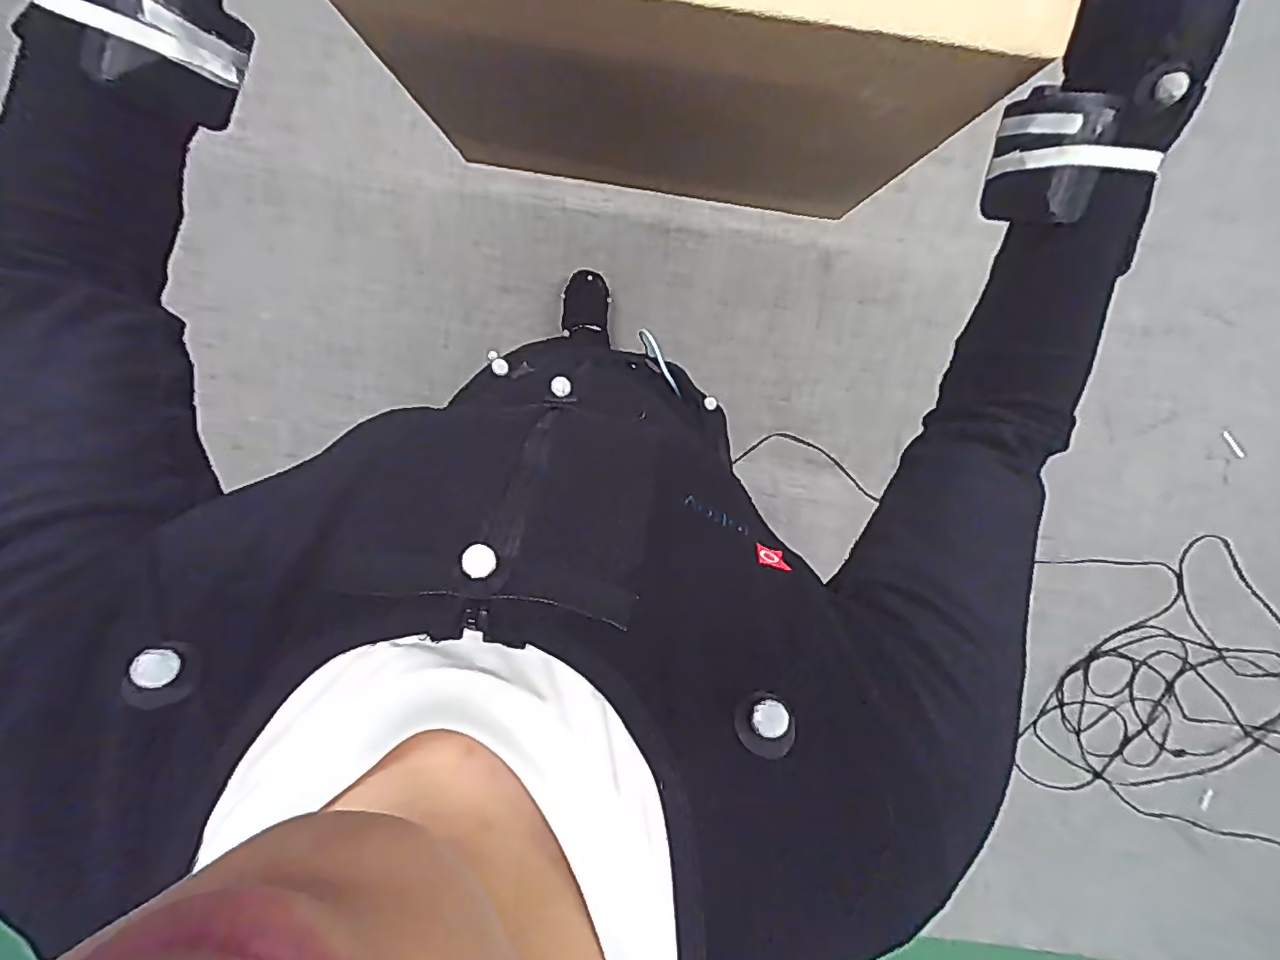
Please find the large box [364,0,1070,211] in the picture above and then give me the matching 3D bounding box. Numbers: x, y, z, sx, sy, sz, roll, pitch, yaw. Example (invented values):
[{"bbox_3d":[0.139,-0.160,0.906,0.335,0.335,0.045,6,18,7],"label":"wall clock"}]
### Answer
[{"bbox_3d":[0.043,-0.428,0.401,0.408,0.320,0.320,7,102,-3],"label":"large box"}]
